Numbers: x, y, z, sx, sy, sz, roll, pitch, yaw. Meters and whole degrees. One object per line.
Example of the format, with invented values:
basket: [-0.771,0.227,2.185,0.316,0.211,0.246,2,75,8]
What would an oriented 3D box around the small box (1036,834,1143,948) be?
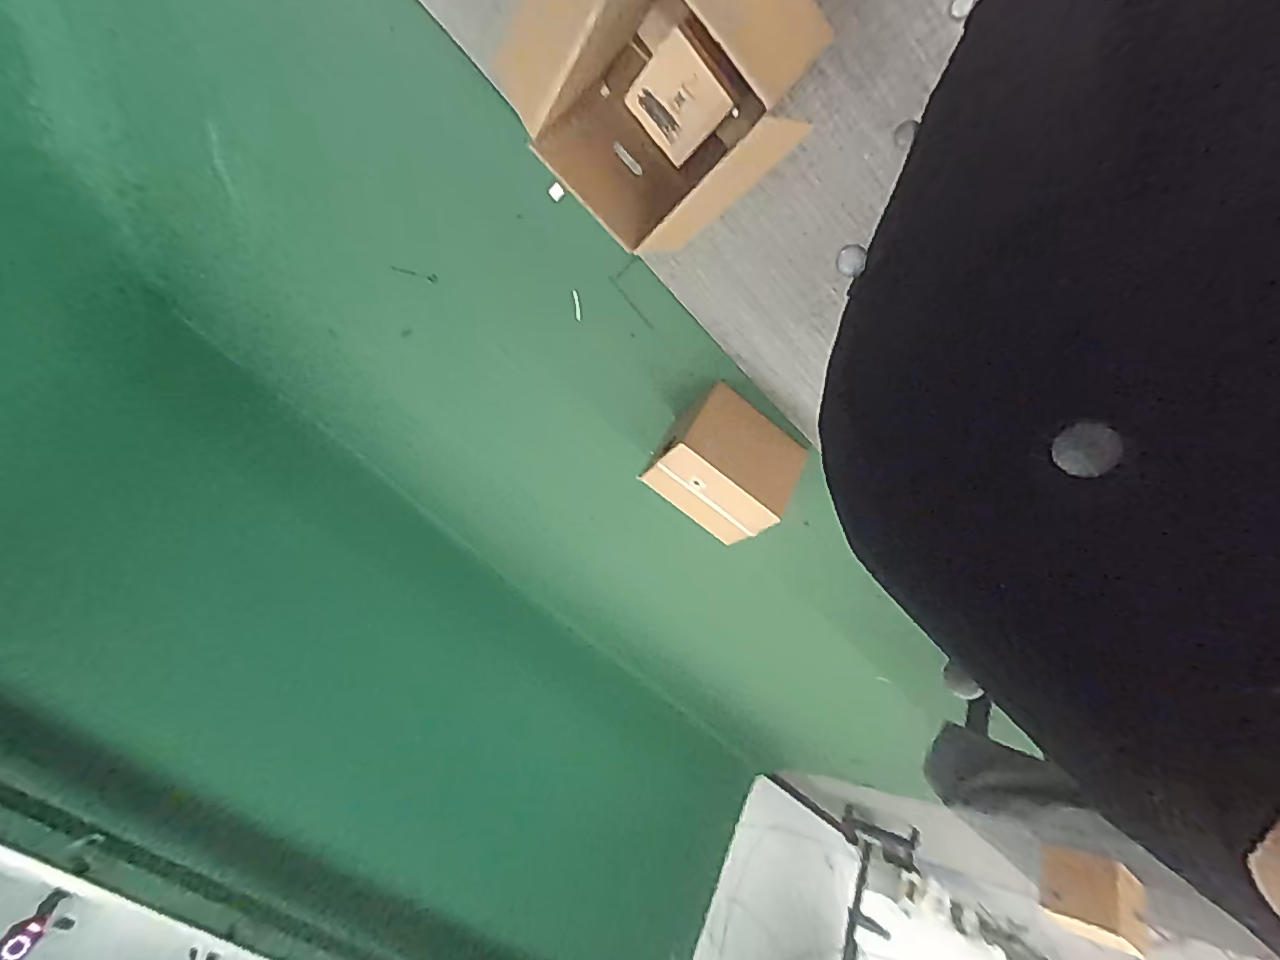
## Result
small box: [1.174,1.065,1.417,0.168,0.176,0.179,43,147,-20]
